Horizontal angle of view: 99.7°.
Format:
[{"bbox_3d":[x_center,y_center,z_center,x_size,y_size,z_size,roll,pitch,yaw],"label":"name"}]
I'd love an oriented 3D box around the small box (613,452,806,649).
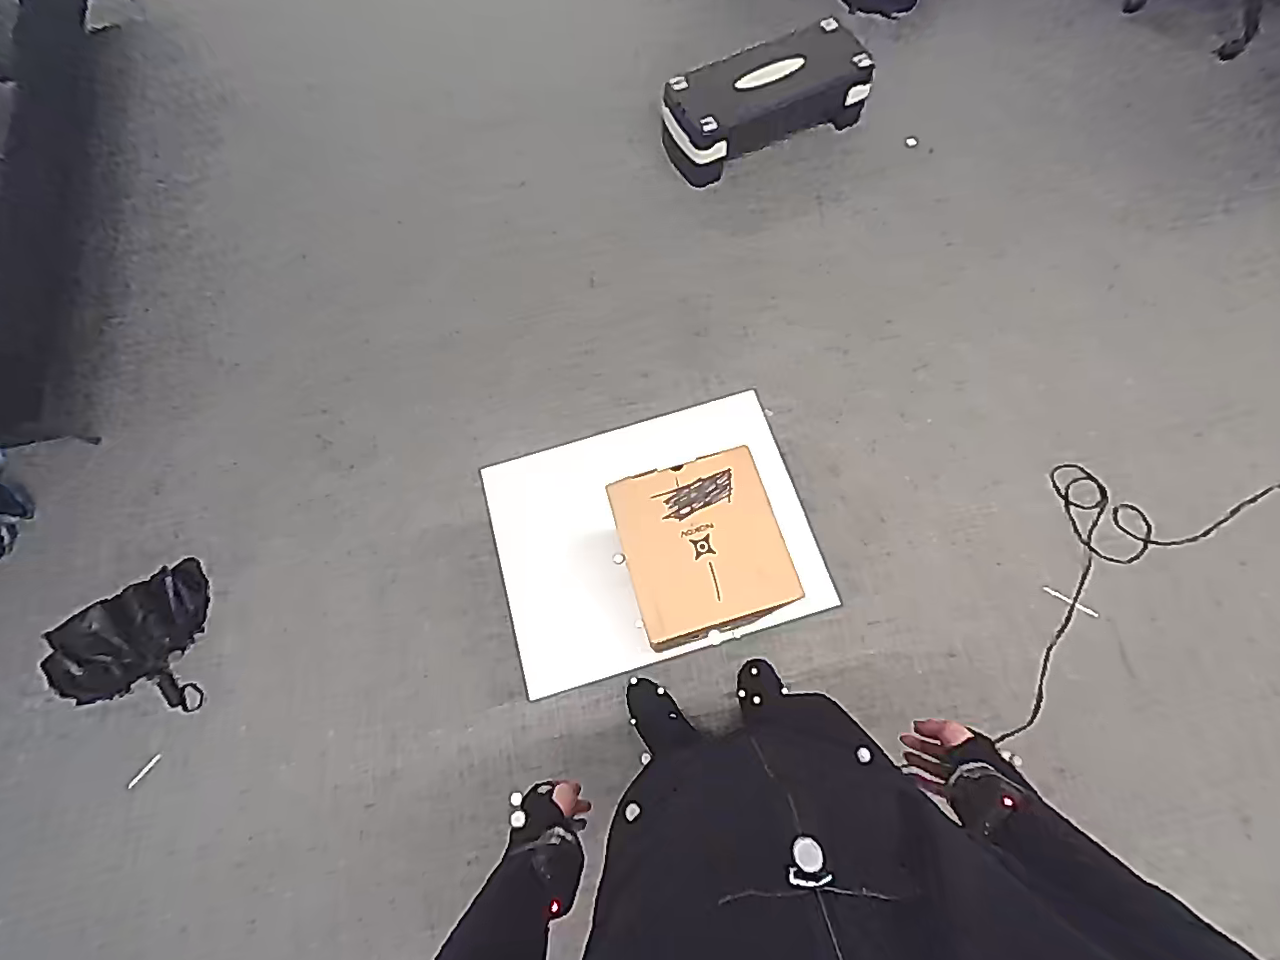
[{"bbox_3d":[0.071,0.093,0.644,0.168,0.176,0.179,-16,72,-3],"label":"small box"}]
